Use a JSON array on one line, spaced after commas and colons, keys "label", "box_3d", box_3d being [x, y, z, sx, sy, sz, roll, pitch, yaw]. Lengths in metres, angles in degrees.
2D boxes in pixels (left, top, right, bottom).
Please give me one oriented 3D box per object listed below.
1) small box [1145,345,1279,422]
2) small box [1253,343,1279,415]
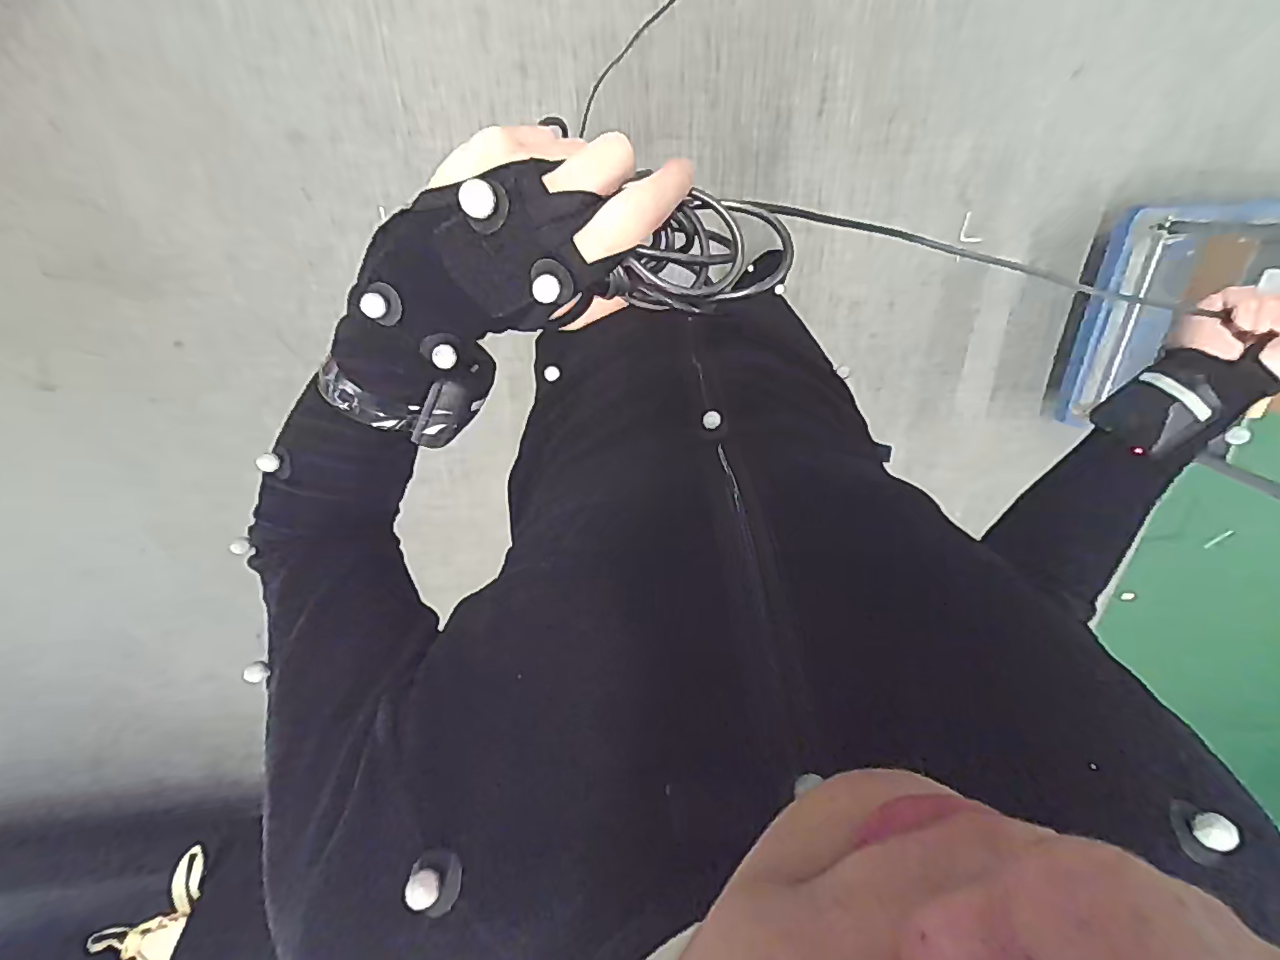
[{"label": "small box", "box_3d": [1.538, -0.263, 1.452, 0.179, 0.176, 0.168, -2, 116, -4]}, {"label": "small box", "box_3d": [1.807, -0.276, 1.470, 0.179, 0.176, 0.168, -6, 116, -1]}]
